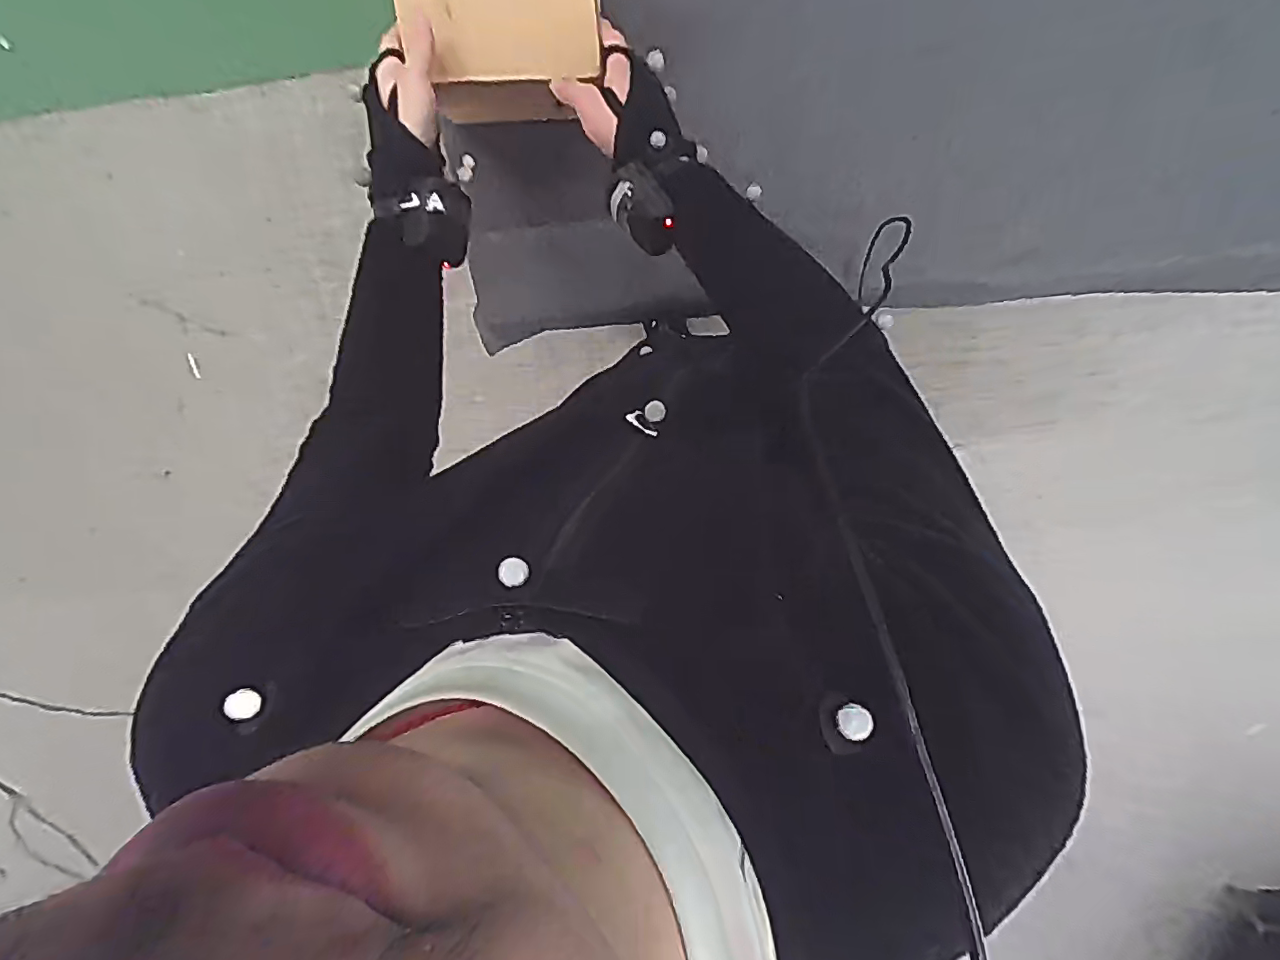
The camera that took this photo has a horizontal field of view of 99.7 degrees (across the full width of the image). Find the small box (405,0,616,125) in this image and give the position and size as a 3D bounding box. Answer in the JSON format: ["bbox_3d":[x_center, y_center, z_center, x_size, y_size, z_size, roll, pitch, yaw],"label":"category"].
[{"bbox_3d":[-0.118,-0.457,0.520,0.179,0.176,0.168,-3,112,-4],"label":"small box"}]
